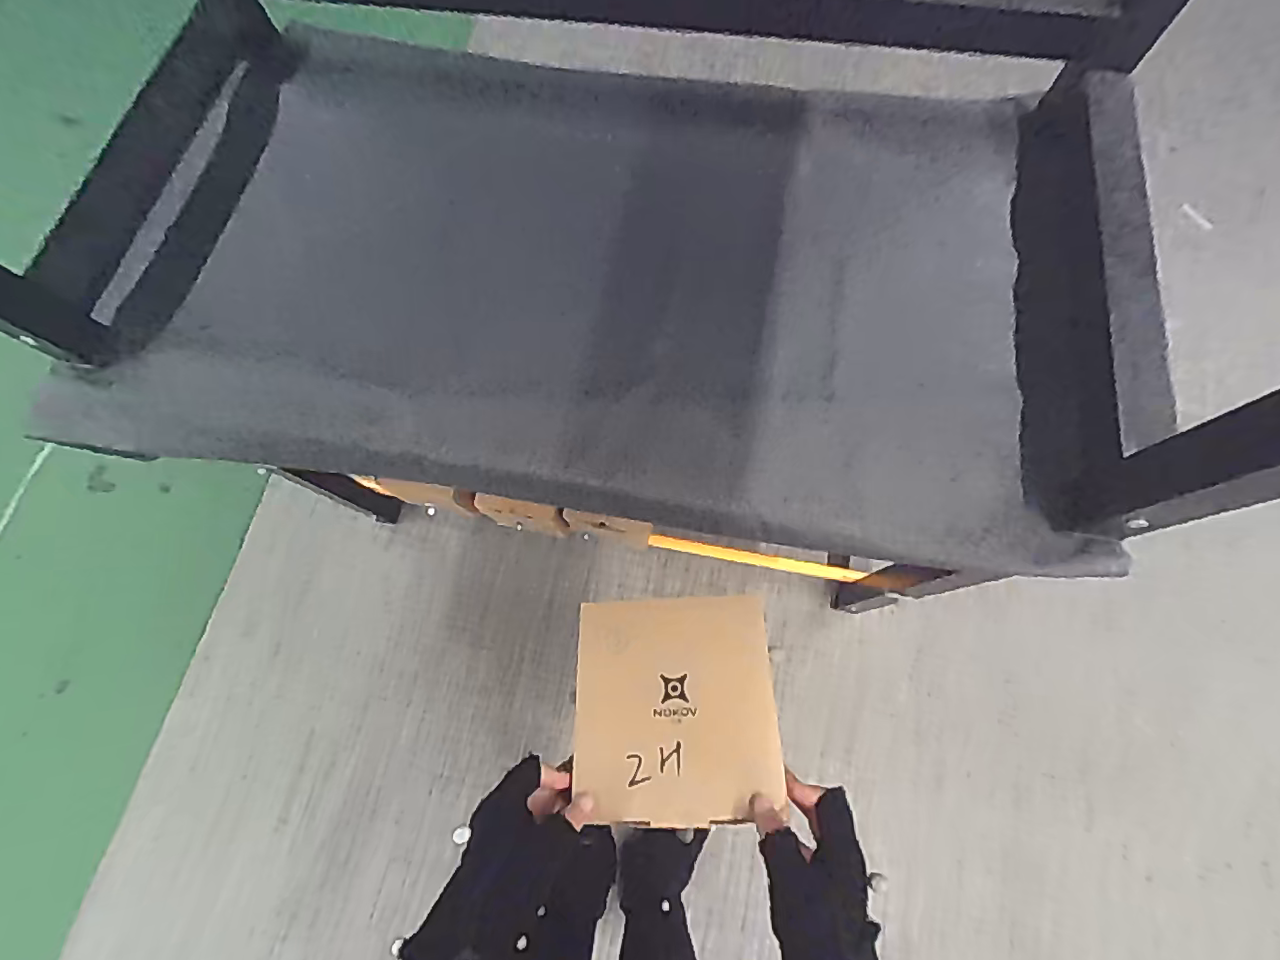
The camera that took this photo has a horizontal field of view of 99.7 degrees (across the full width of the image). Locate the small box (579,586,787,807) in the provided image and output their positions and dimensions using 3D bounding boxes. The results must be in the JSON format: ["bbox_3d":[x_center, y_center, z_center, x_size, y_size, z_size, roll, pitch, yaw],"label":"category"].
[{"bbox_3d":[0.041,0.216,0.530,0.168,0.176,0.179,-4,61,6],"label":"small box"}]
